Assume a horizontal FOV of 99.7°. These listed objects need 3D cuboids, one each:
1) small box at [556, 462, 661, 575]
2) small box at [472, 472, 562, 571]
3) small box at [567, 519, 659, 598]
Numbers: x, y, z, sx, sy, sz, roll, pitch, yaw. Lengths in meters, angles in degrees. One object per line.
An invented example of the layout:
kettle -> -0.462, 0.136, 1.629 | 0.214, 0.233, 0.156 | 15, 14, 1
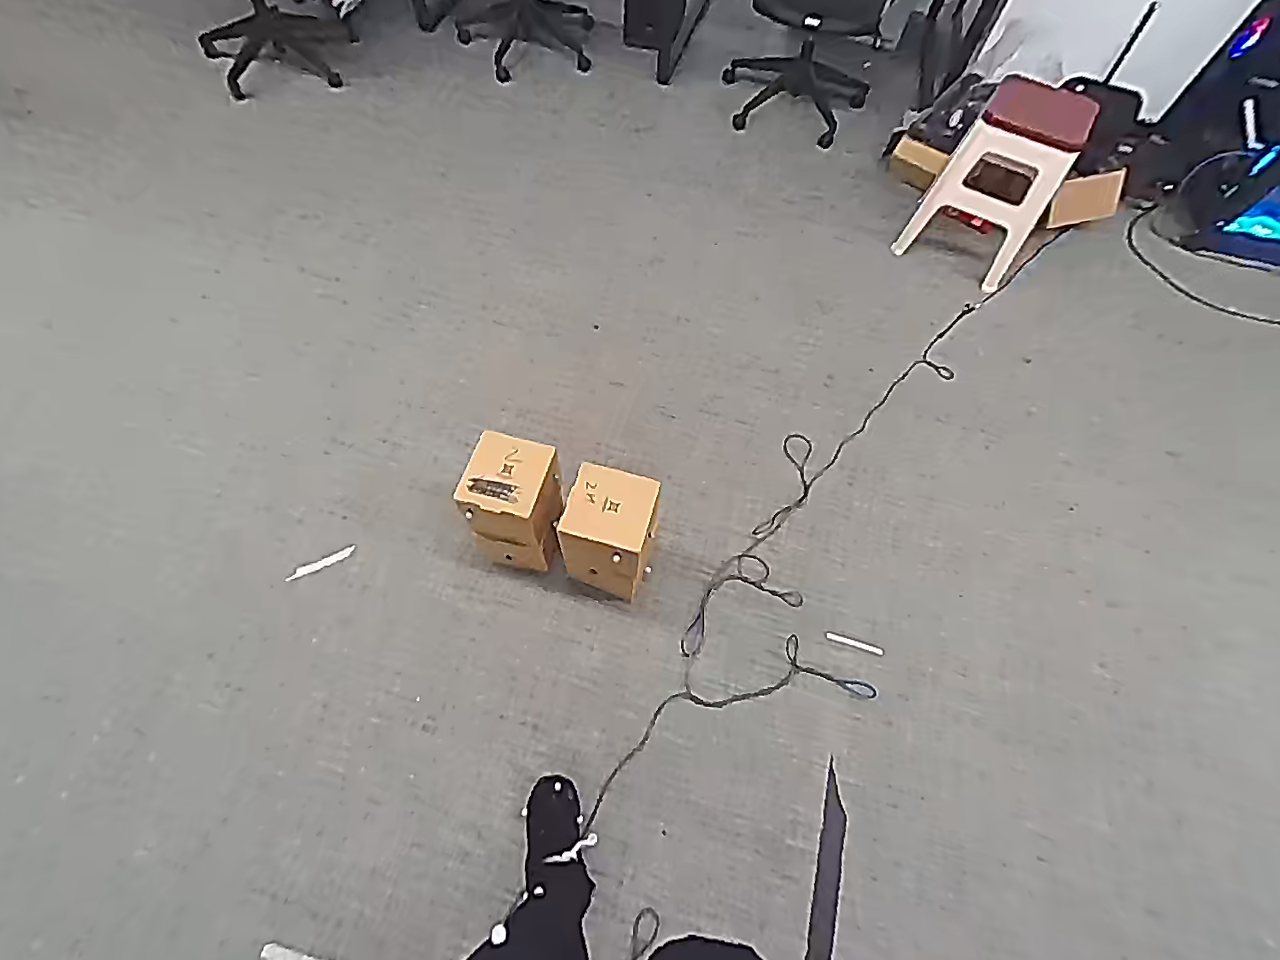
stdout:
small box -> -0.064, 0.090, 1.163 | 0.179, 0.176, 0.168 | 15, 62, 6
small box -> -0.293, 0.106, 1.334 | 0.168, 0.176, 0.179 | 10, 62, 2
small box -> -0.069, 0.167, 1.308 | 0.179, 0.176, 0.168 | 21, 63, 8
